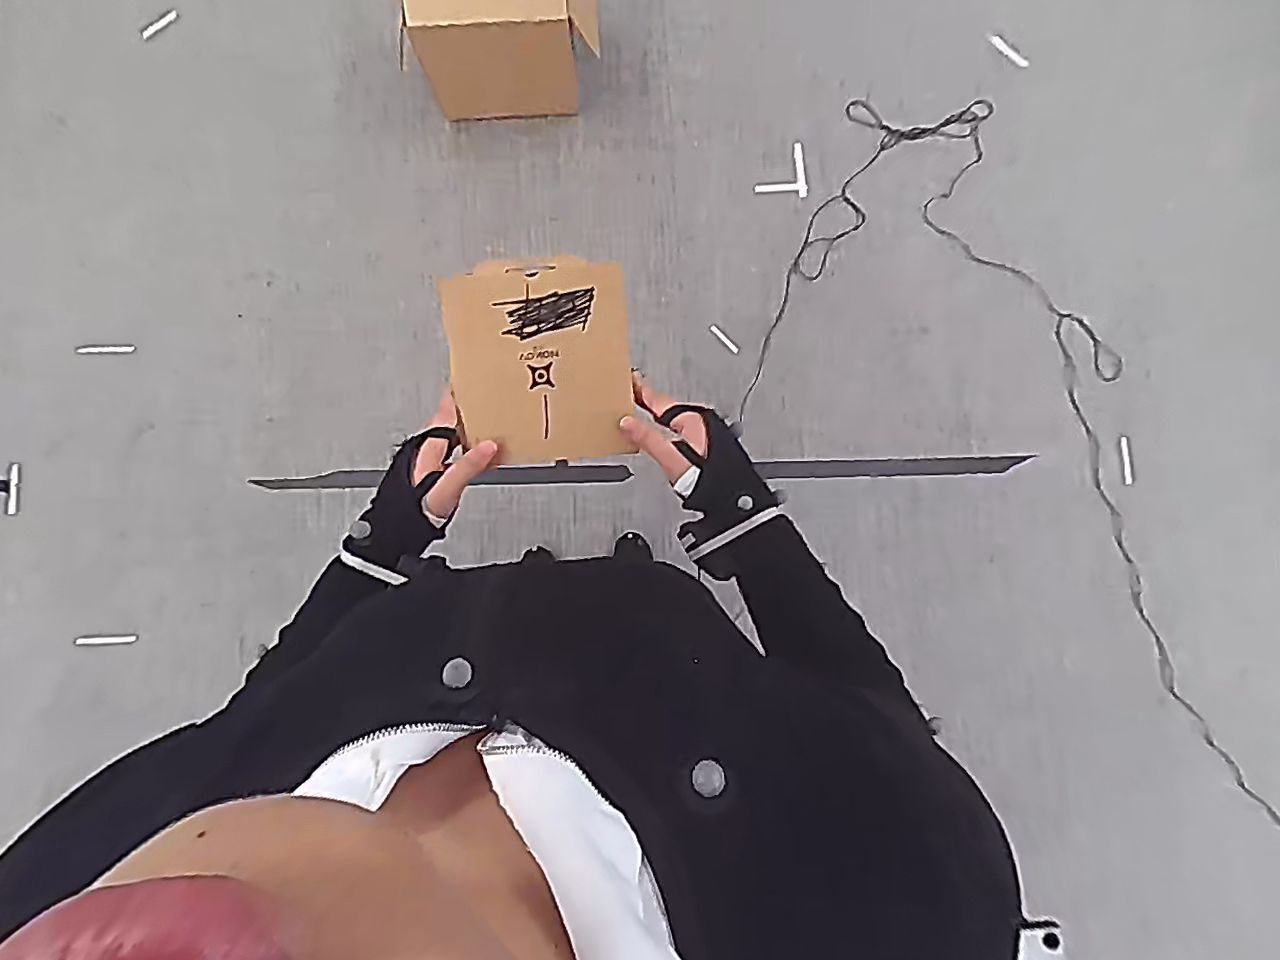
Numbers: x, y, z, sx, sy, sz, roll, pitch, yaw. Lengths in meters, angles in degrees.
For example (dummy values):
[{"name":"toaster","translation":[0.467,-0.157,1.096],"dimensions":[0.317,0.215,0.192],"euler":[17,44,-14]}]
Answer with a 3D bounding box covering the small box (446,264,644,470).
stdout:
[{"name":"small box","translation":[-0.087,-0.107,0.565],"dimensions":[0.168,0.176,0.179],"euler":[-5,96,-1]}]
